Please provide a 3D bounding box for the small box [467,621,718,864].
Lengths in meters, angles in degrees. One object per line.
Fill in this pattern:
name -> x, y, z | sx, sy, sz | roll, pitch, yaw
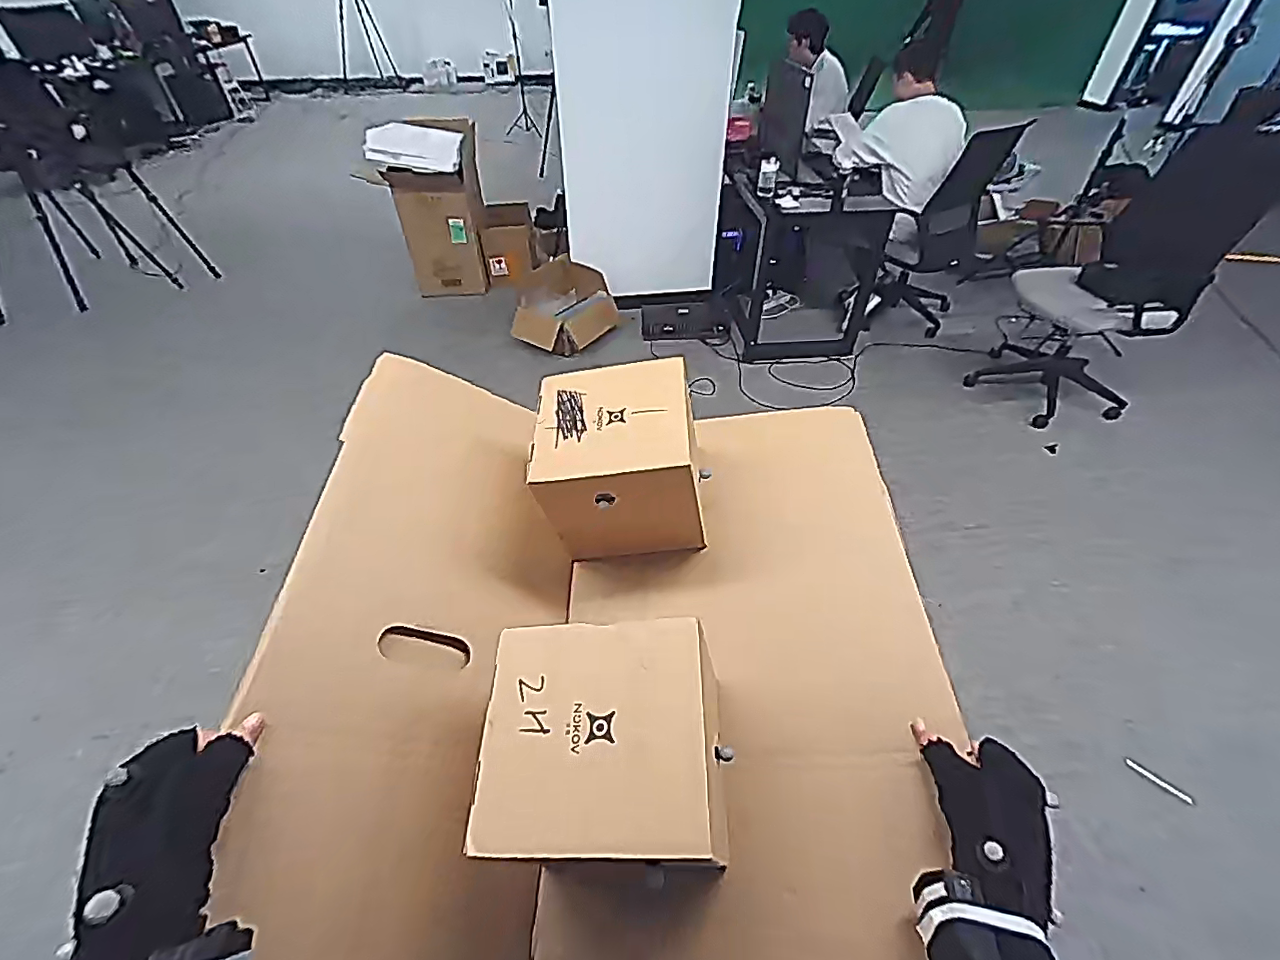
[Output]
small box -> -0.022, 0.237, 0.484 | 0.179, 0.176, 0.168 | -5, 52, 10

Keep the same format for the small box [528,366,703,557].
small box -> -0.020, -0.015, 0.676 | 0.179, 0.176, 0.168 | -6, 52, 8
